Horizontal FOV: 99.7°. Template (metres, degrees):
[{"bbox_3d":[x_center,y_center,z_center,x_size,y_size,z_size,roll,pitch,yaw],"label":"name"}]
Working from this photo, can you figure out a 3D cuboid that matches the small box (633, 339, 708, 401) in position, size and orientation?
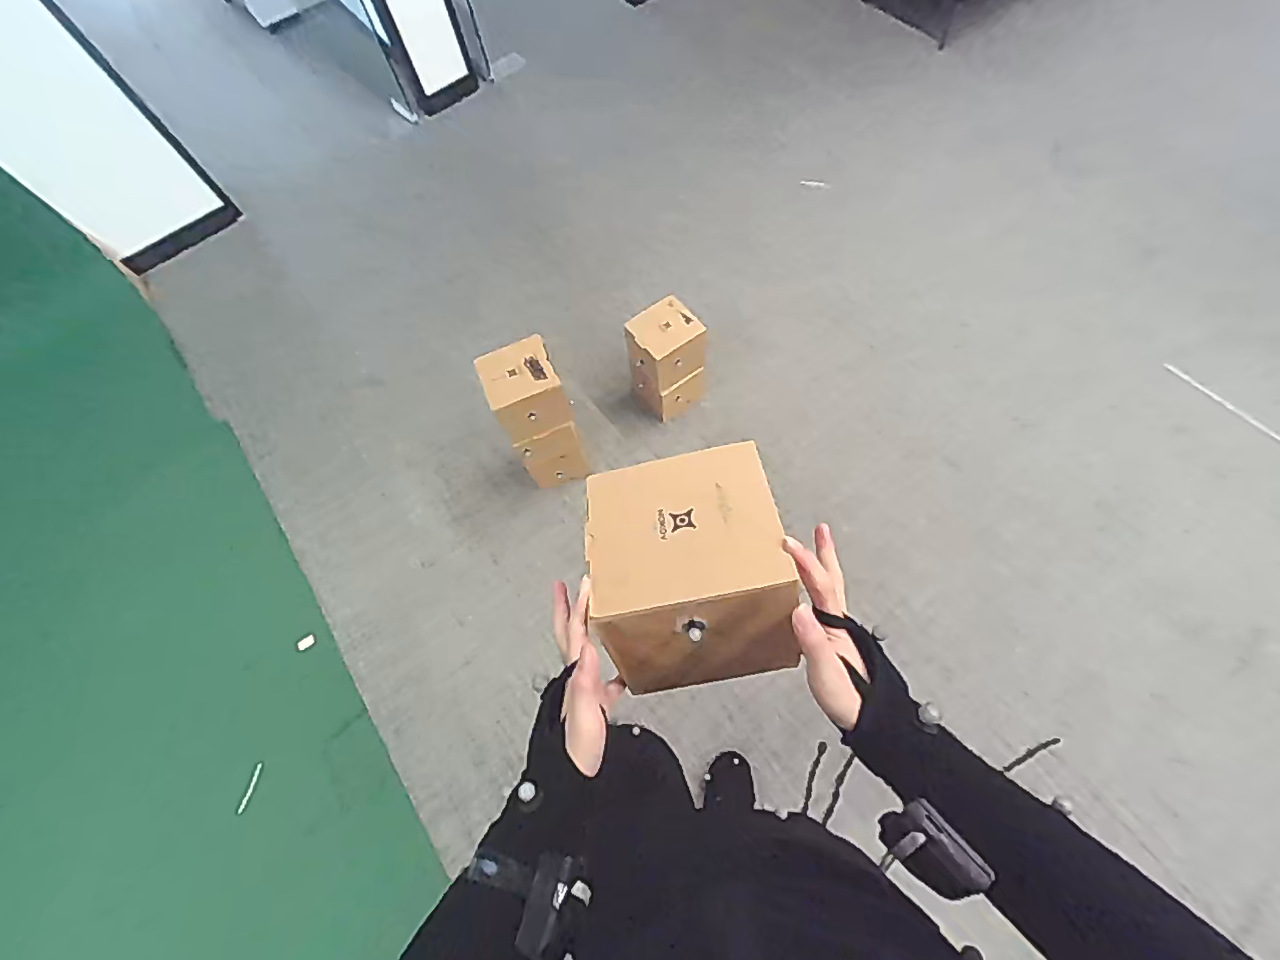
[{"bbox_3d":[0.097,-0.372,1.701,0.168,0.176,0.179,-34,69,-9],"label":"small box"}]

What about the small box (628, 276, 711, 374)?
[{"bbox_3d":[0.088,-0.439,1.551,0.179,0.176,0.168,-33,69,-8],"label":"small box"}]

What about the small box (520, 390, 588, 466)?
[{"bbox_3d":[-0.261,-0.156,1.640,0.168,0.176,0.179,-15,67,-2],"label":"small box"}]

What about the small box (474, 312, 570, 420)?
[{"bbox_3d":[-0.282,-0.276,1.335,0.179,0.176,0.168,-21,68,-3],"label":"small box"}]
